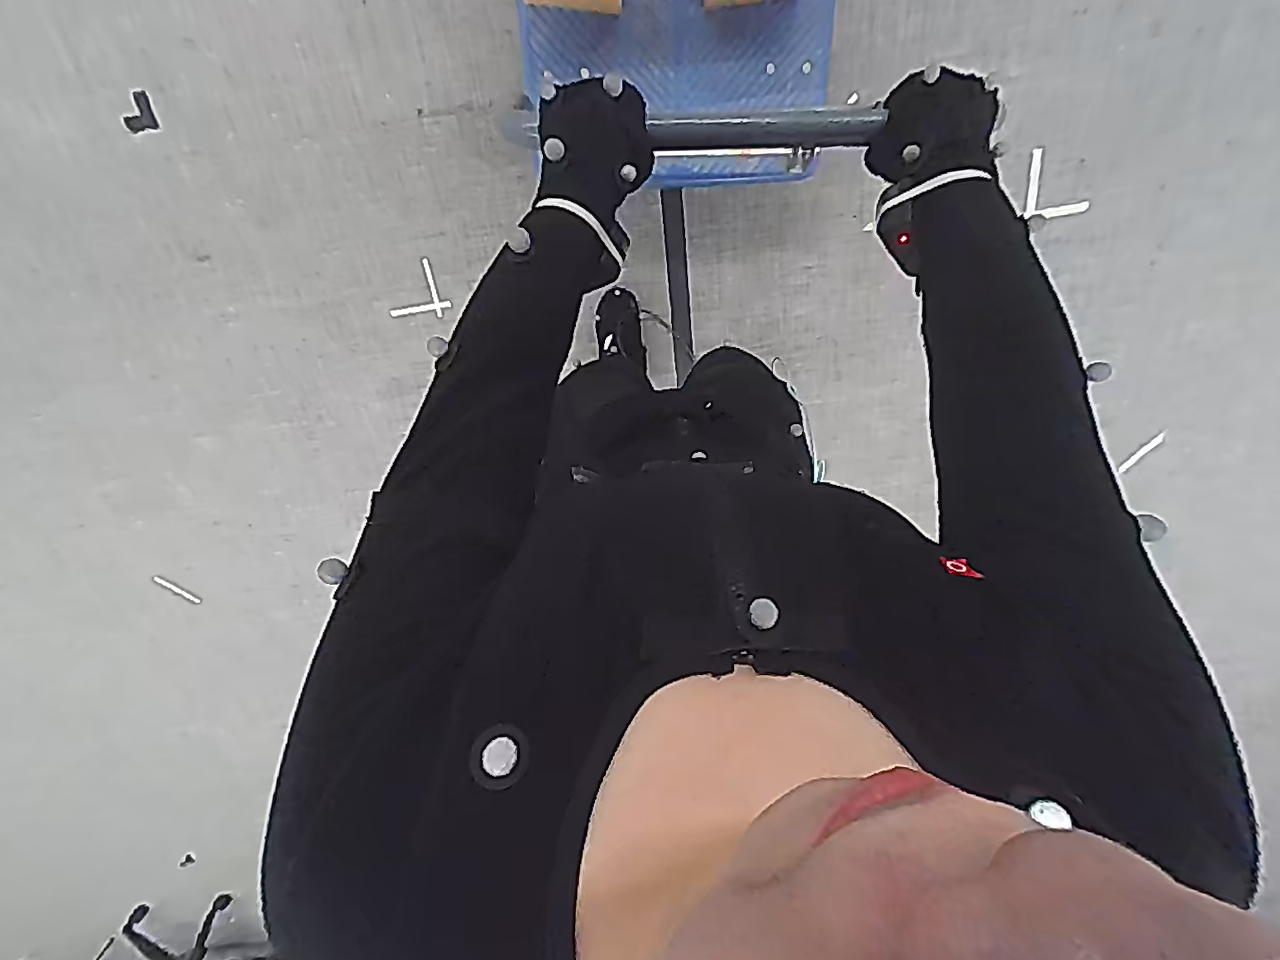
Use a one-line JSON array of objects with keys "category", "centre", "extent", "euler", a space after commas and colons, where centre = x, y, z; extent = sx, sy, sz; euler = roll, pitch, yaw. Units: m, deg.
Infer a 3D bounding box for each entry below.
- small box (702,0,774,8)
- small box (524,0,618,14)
[{"category": "small box", "centre": [0.189, -0.905, 0.877], "extent": [0.179, 0.176, 0.168], "euler": [-7, 115, 1]}, {"category": "small box", "centre": [-0.117, -0.889, 0.872], "extent": [0.179, 0.176, 0.168], "euler": [2, 115, -5]}]
